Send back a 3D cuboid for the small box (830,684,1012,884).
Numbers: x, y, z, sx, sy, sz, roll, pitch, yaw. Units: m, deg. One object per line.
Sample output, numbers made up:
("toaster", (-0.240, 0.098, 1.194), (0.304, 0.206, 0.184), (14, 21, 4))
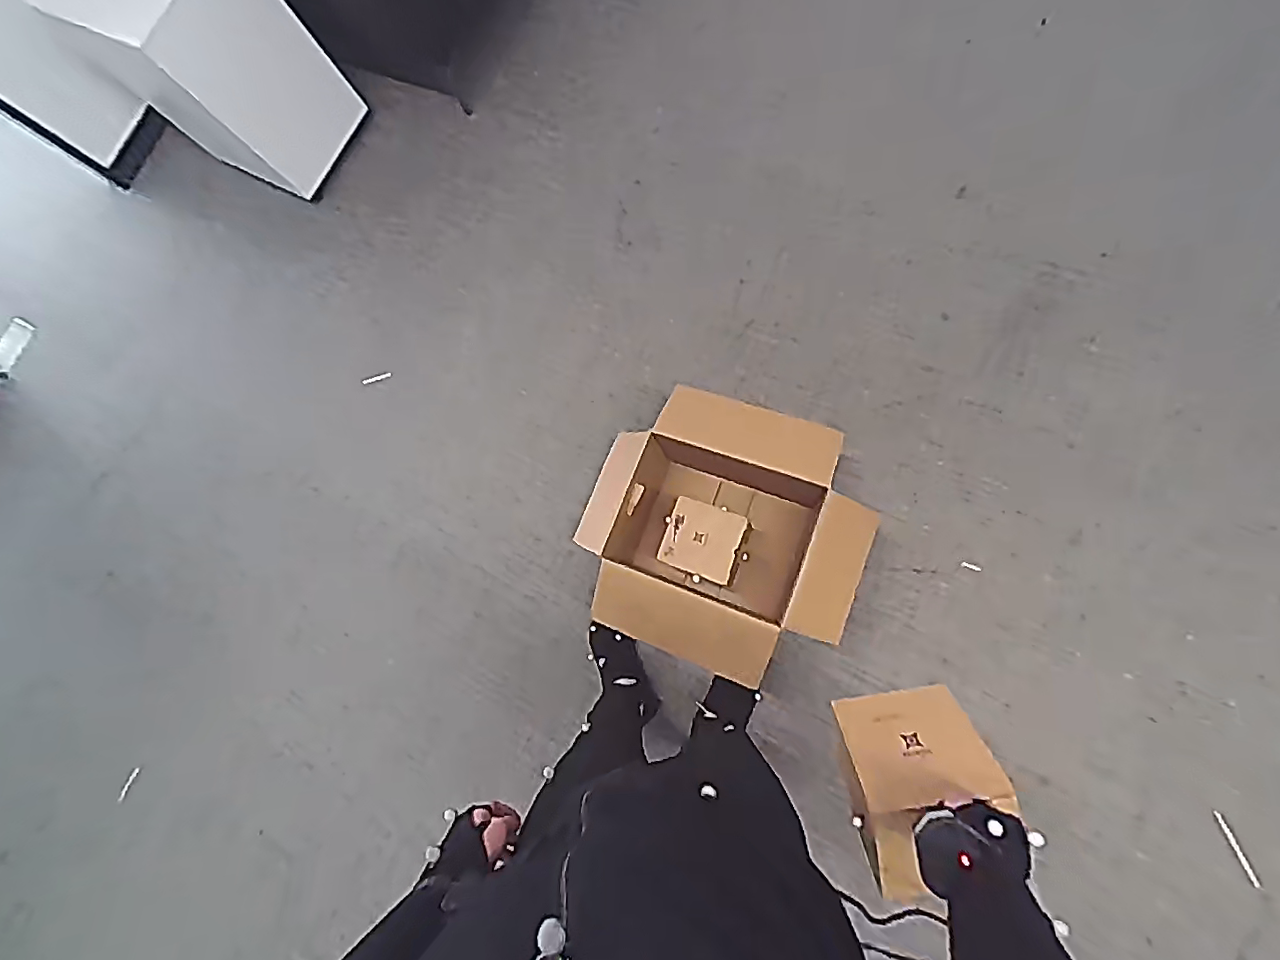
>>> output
("small box", (0.369, 0.412, 0.733), (0.168, 0.179, 0.176), (-9, 111, 6))
